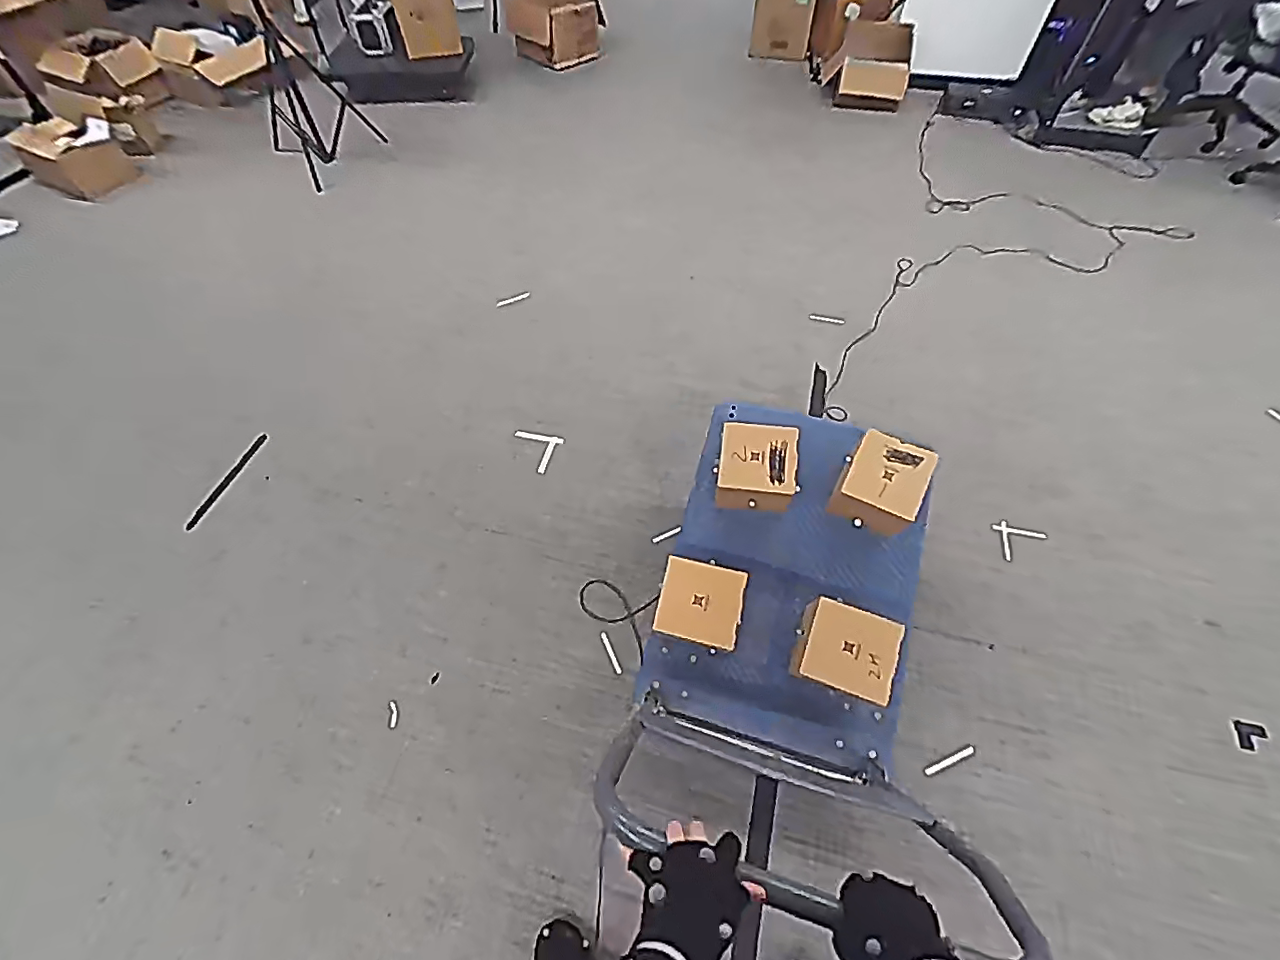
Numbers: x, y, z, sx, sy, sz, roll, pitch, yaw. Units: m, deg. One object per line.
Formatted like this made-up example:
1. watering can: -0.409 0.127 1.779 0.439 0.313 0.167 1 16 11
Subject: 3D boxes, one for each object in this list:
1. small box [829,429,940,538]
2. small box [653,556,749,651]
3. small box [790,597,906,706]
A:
1. small box: 0.566 0.013 1.275 0.168 0.176 0.179 25 76 14
2. small box: 0.136 0.285 1.224 0.179 0.176 0.168 12 72 9
3. small box: 0.437 0.369 1.162 0.179 0.176 0.168 19 74 12
